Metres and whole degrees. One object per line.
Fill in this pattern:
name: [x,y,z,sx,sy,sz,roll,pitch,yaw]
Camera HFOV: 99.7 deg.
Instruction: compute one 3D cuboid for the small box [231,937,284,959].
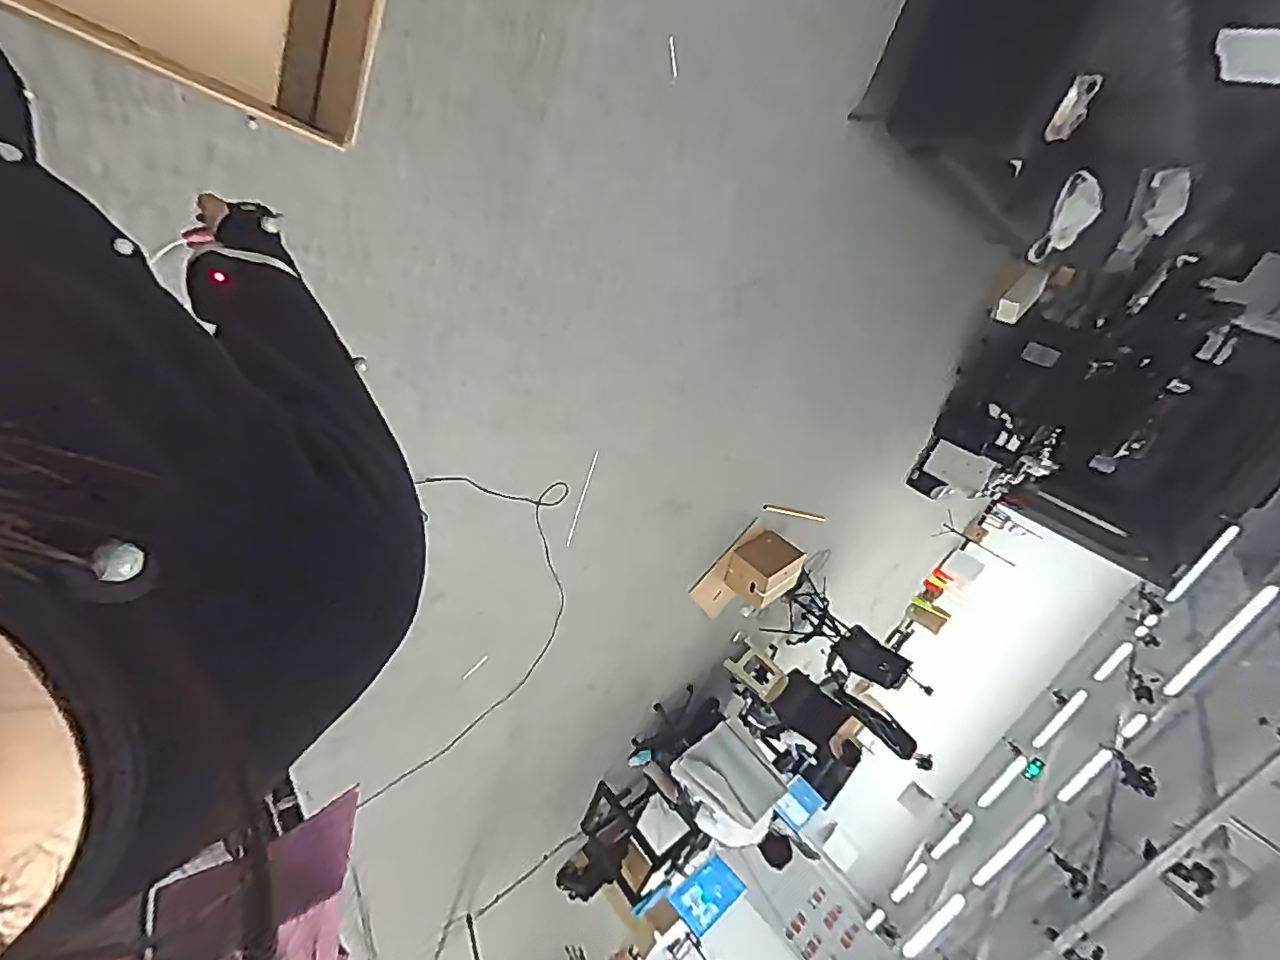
small box: [-0.898,1.198,1.225,0.168,0.176,0.179,-10,129,-43]
